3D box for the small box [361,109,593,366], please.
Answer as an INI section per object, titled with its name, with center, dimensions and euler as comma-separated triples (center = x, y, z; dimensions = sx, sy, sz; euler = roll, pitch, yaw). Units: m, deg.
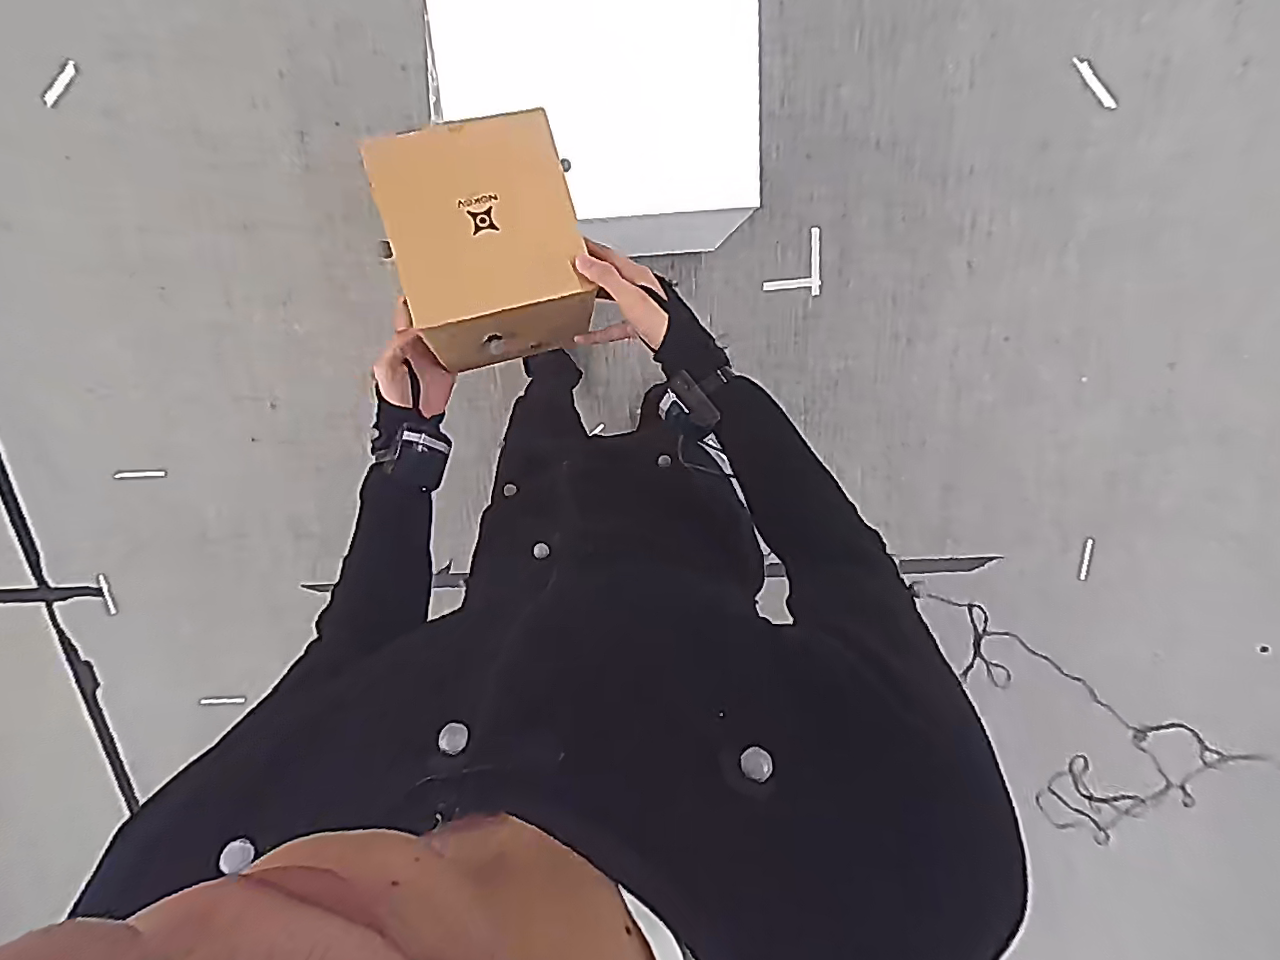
[small box]
center = -0.152, -0.227, 0.556
dimensions = 0.168, 0.176, 0.179
euler = -17, 90, -9
